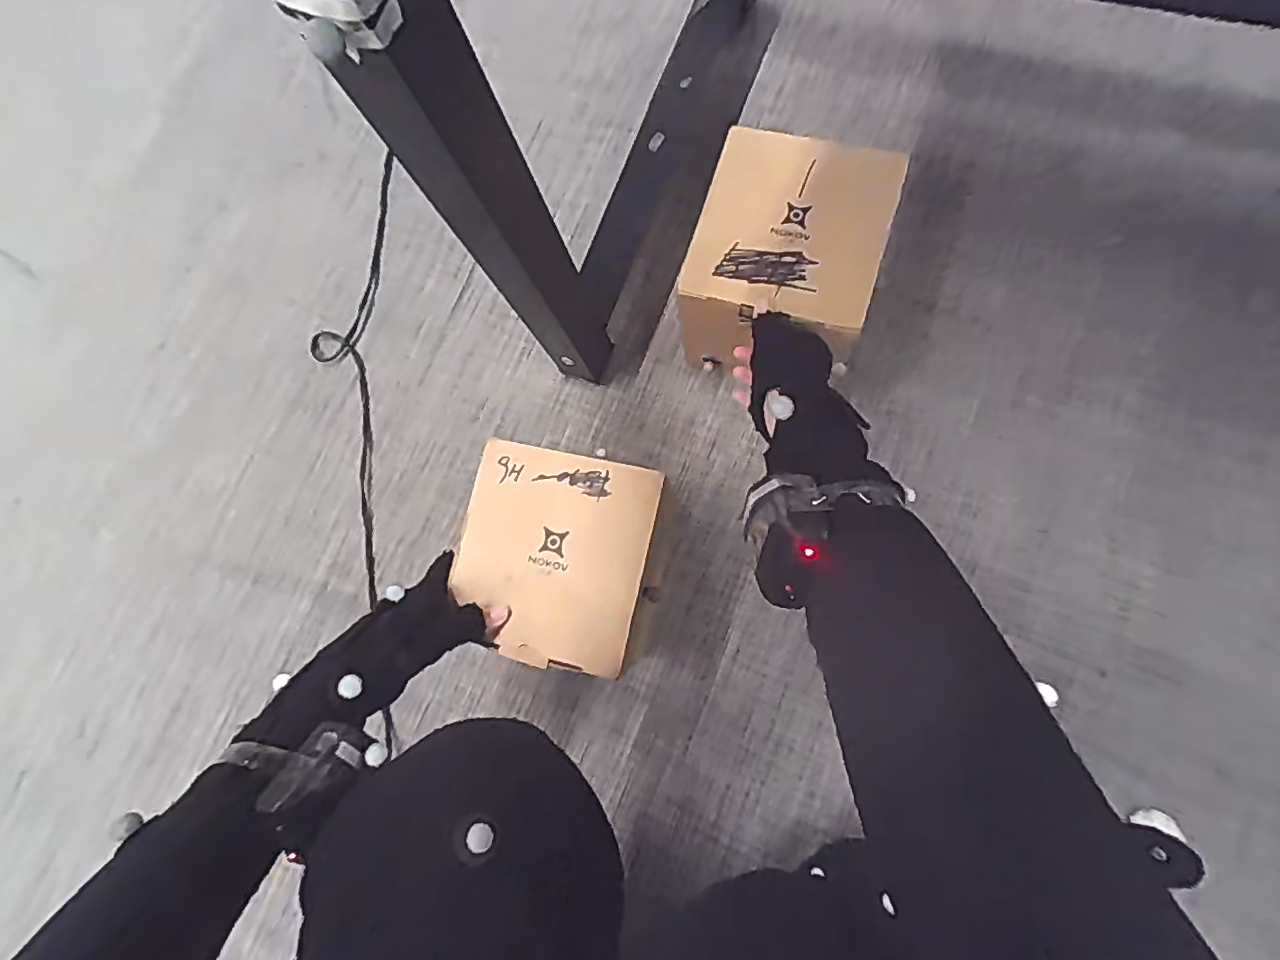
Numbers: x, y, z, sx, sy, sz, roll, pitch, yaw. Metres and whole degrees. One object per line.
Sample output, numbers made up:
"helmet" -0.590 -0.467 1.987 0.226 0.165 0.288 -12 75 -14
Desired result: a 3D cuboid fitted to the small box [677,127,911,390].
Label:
"small box" 0.147 -0.212 0.558 0.168 0.176 0.179 18 83 10
